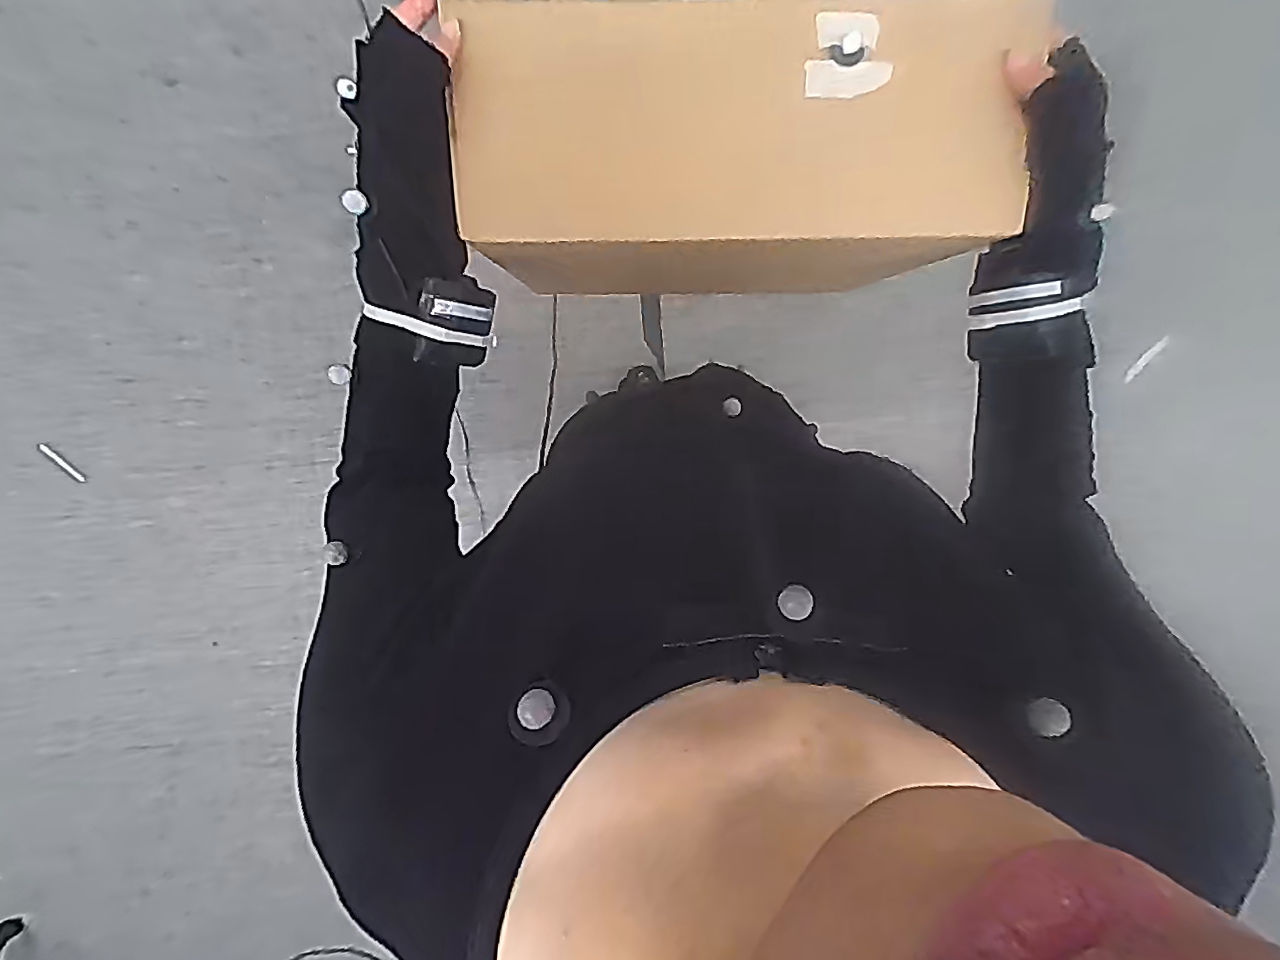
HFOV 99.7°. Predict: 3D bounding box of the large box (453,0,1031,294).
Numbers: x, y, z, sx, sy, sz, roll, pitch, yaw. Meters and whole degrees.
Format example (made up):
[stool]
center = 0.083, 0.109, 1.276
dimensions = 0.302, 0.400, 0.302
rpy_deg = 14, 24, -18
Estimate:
[large box]
center = 0.065, -0.364, 0.513
dimensions = 0.408, 0.320, 0.320
rpy_deg = -1, 102, -1
